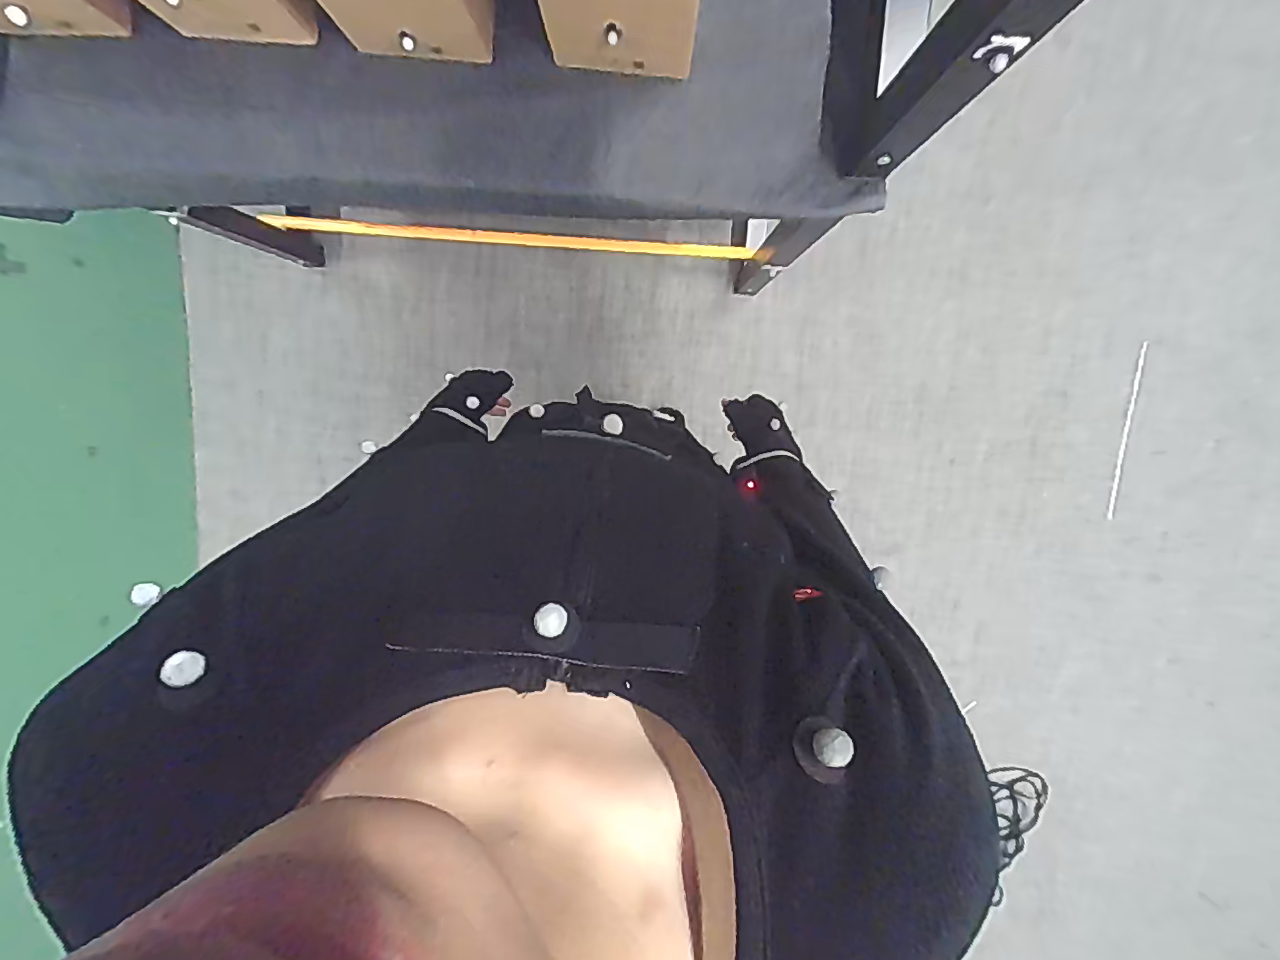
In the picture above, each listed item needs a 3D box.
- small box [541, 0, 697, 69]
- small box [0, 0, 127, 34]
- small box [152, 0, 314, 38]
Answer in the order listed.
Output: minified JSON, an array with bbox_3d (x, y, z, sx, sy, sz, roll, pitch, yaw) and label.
[{"bbox_3d":[-0.015,-0.574,0.563,0.168,0.176,0.179,6,99,-1],"label":"small box"},{"bbox_3d":[-0.696,-0.618,0.562,0.168,0.176,0.179,1,100,0],"label":"small box"},{"bbox_3d":[-0.469,-0.609,0.565,0.168,0.176,0.179,4,99,-1],"label":"small box"}]
